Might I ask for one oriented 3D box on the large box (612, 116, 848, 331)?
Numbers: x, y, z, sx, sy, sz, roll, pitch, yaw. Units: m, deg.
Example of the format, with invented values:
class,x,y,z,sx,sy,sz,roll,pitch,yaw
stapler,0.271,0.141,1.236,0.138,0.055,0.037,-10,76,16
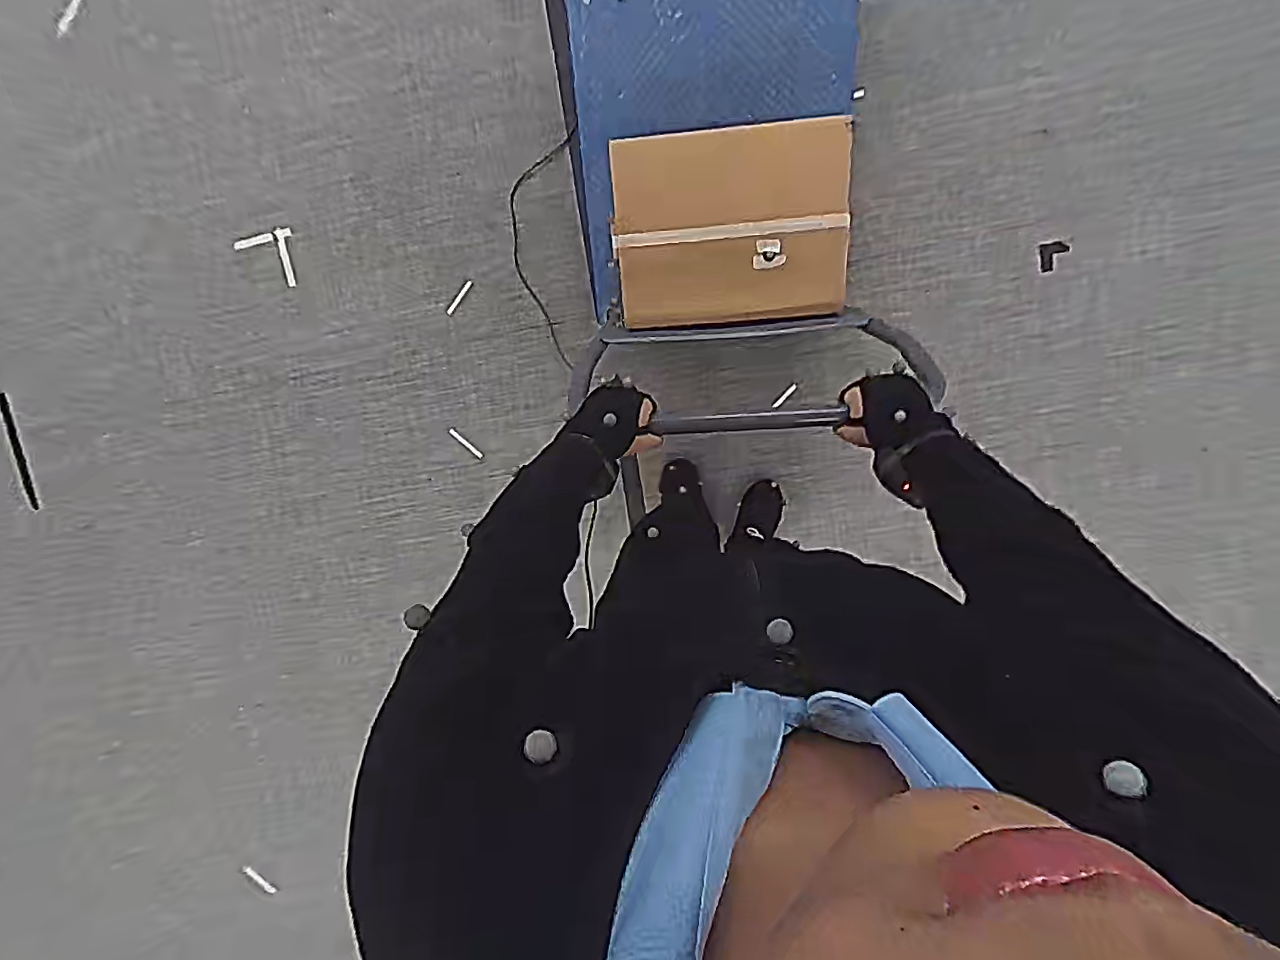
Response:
class,x,y,z,sx,sy,sz,roll,pitch,yaw
large box,0.171,-0.498,1.104,0.408,0.320,0.320,-4,112,5
